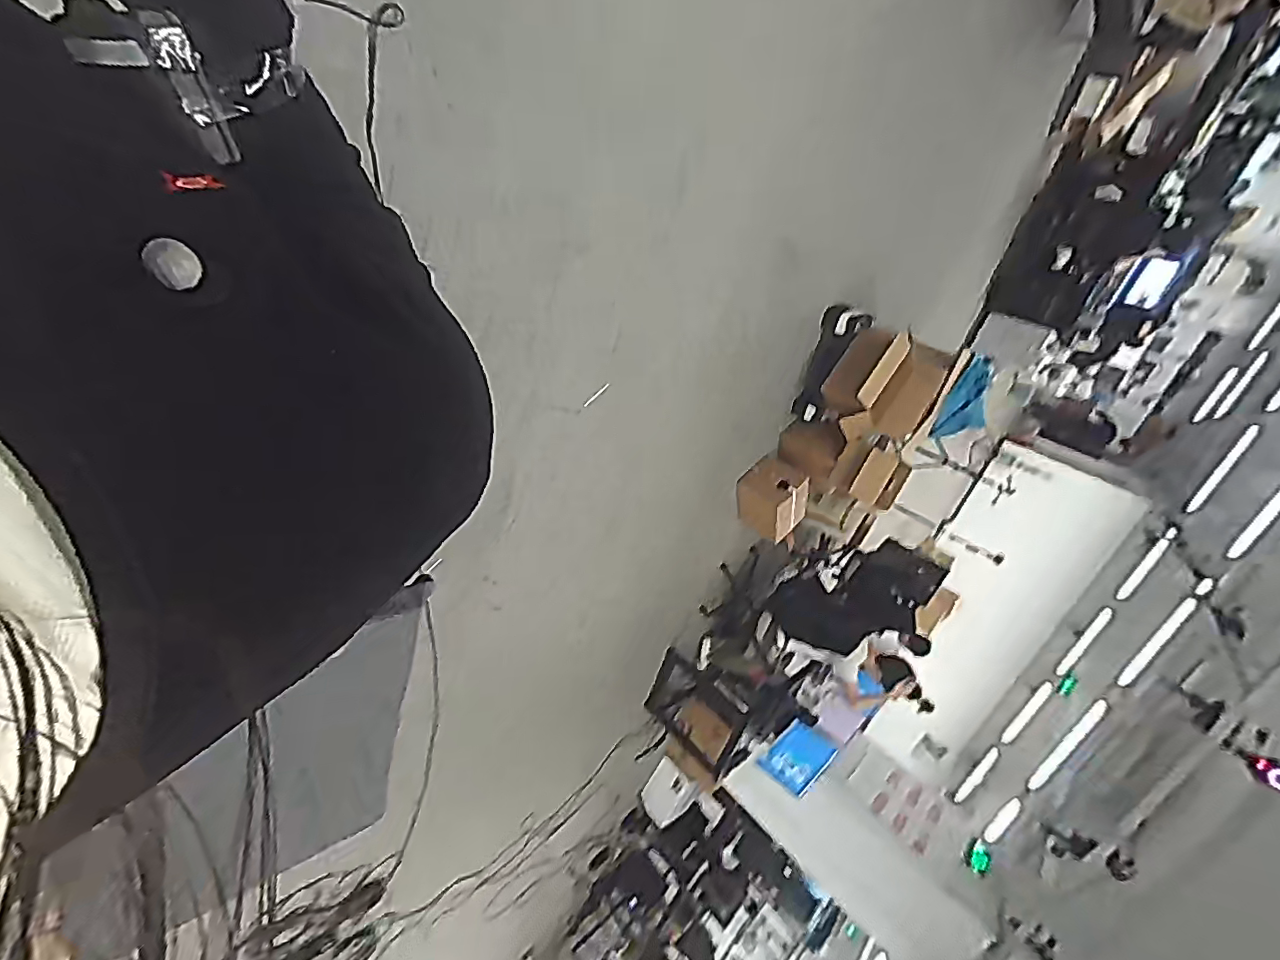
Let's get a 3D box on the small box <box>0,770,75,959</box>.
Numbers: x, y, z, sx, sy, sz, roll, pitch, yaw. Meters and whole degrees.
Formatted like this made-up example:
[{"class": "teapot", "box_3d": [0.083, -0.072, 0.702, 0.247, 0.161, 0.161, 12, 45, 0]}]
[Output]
[{"class": "small box", "box_3d": [-0.761, 0.465, 0.594, 0.179, 0.176, 0.168, -7, 124, -48]}]
